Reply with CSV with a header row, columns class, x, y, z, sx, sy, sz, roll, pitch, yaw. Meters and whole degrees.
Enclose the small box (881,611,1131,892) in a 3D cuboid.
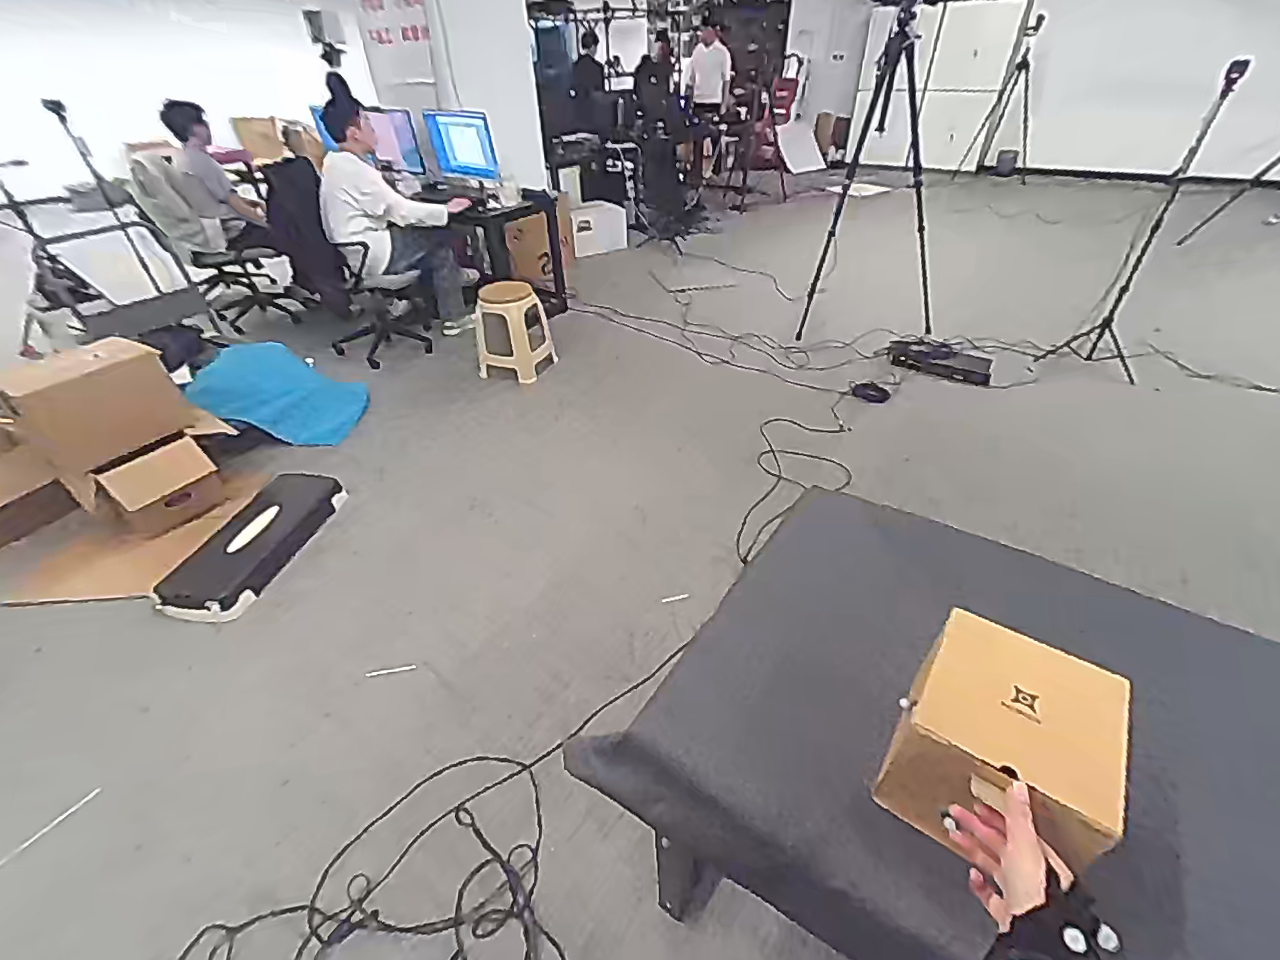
class,x,y,z,sx,sy,sz,roll,pitch,yaw
small box,0.383,0.285,0.584,0.168,0.176,0.179,24,45,29
